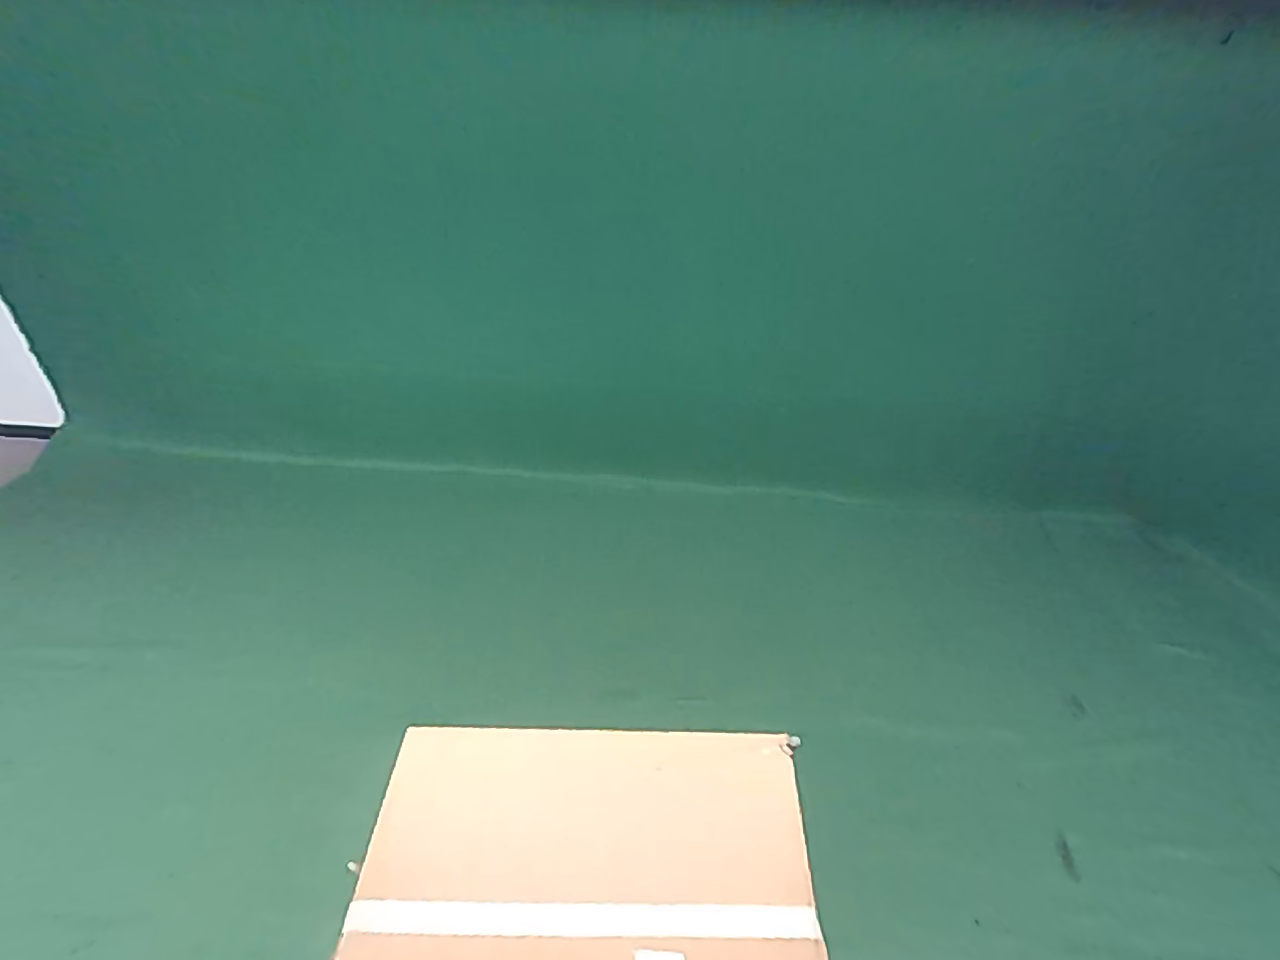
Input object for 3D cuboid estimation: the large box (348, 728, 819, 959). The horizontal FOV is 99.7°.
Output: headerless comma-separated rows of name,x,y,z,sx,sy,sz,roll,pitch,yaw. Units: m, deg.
large box,-0.051,0.484,0.582,0.408,0.320,0.320,1,46,0
